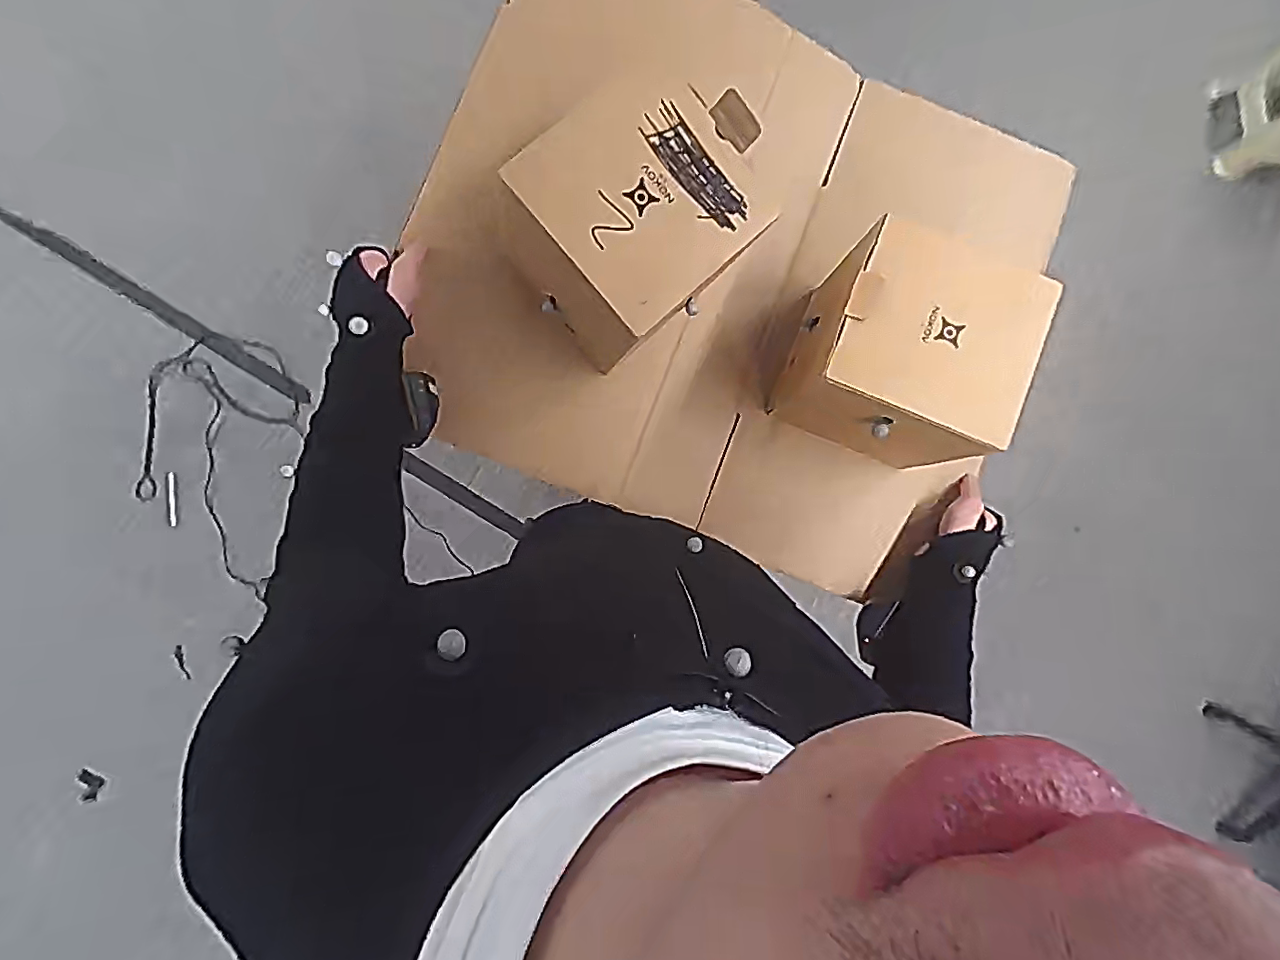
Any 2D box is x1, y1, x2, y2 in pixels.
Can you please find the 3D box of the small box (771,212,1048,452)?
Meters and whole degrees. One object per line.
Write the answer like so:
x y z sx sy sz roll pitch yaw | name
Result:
0.264 -0.136 0.570 0.179 0.176 0.168 21 85 -1 | small box
